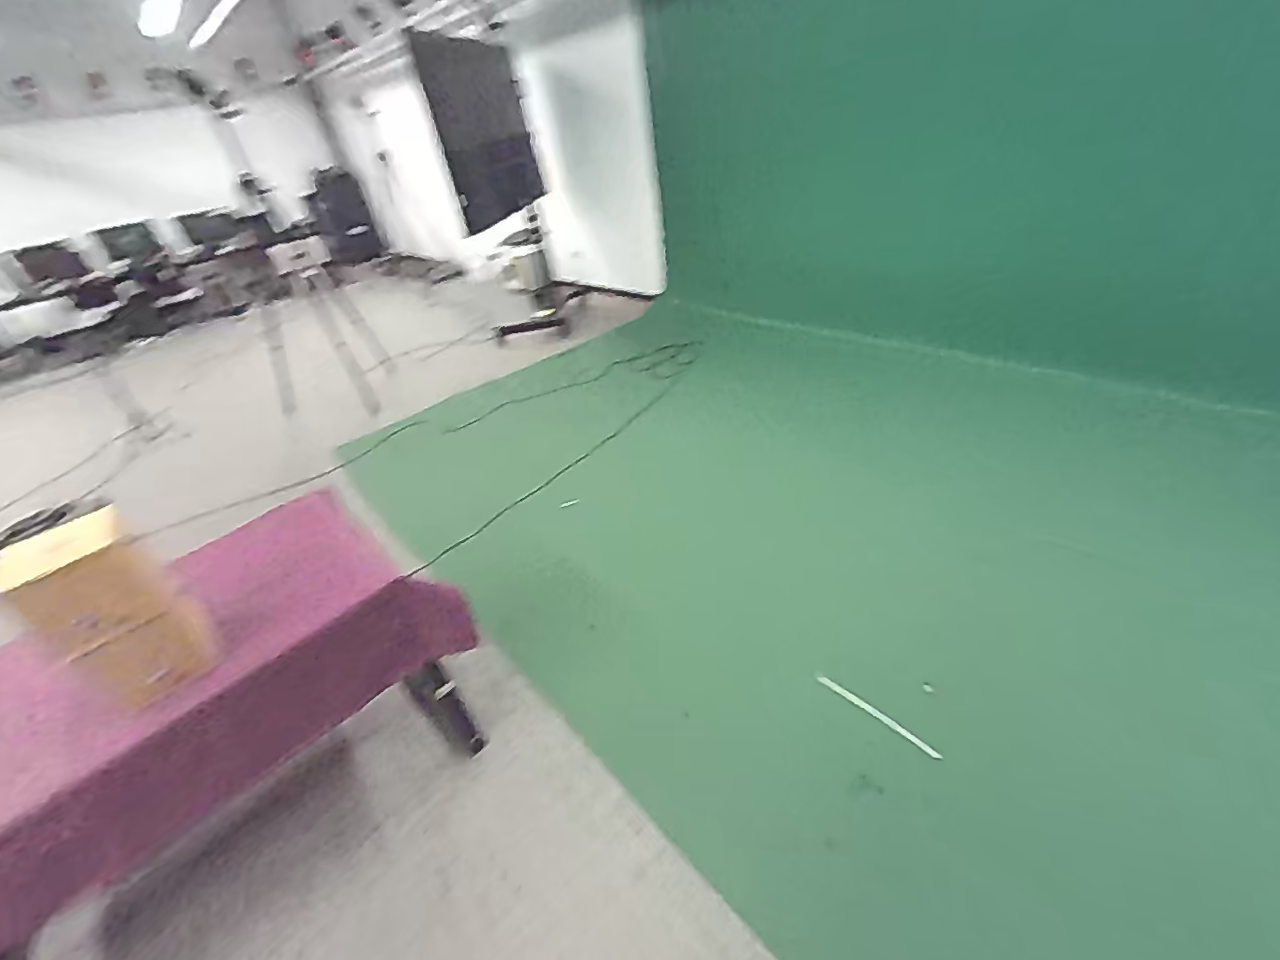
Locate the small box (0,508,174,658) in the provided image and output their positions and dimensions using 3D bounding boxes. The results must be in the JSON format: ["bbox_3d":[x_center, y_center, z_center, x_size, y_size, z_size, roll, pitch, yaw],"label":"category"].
[{"bbox_3d":[-1.000,0.186,0.986,0.168,0.176,0.179,-33,41,-29],"label":"small box"}]

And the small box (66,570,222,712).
[{"bbox_3d":[-0.978,0.319,1.077,0.168,0.176,0.179,-34,41,-29],"label":"small box"}]
